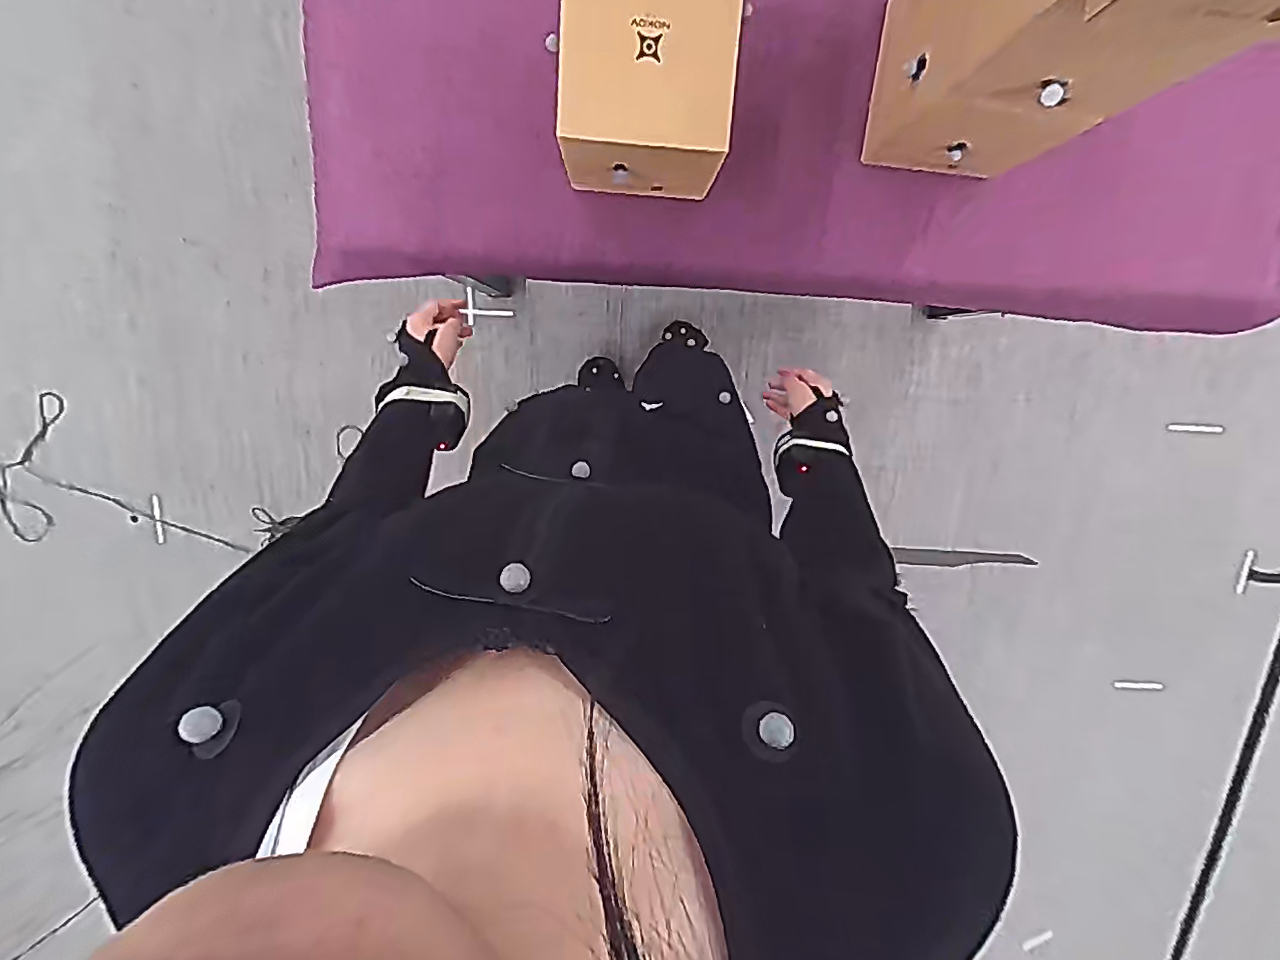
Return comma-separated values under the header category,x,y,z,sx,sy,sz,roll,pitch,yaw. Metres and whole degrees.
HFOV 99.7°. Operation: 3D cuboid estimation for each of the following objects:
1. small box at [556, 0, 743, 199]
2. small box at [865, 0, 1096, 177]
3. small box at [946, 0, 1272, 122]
category,x,y,z,sx,sy,sz,roll,pitch,yaw
small box,0.007,-0.416,0.571,0.168,0.176,0.179,4,101,-3
small box,0.362,-0.445,0.573,0.168,0.176,0.179,5,102,-3
small box,0.369,-0.413,0.412,0.168,0.176,0.179,5,103,-2
